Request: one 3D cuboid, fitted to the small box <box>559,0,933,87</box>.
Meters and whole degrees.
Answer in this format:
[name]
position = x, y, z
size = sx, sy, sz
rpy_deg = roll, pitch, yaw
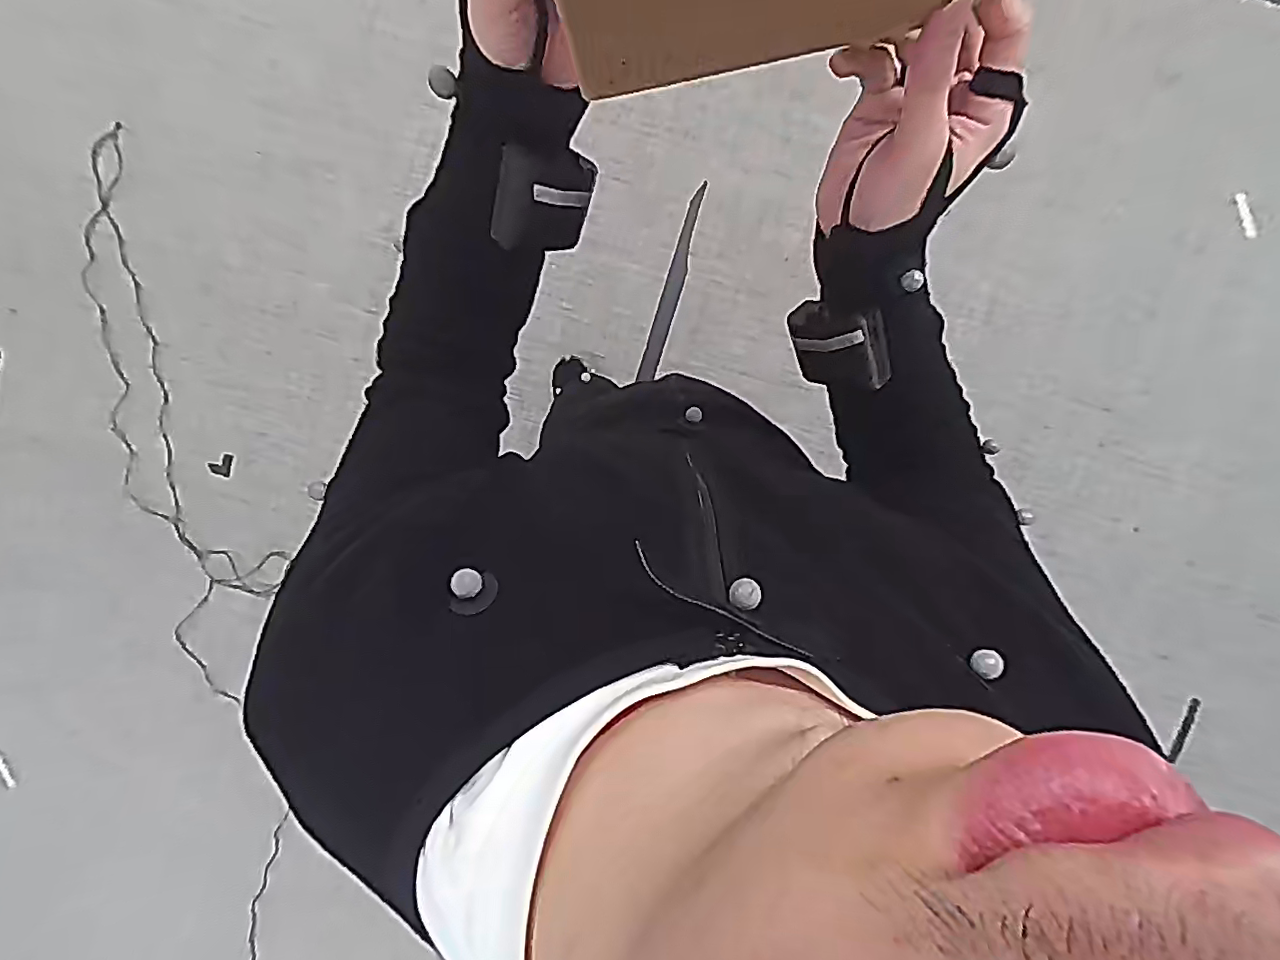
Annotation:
[small box]
position = 0.041, -0.257, 0.164
size = 0.179, 0.176, 0.168
rpy_deg = -10, 105, 4
